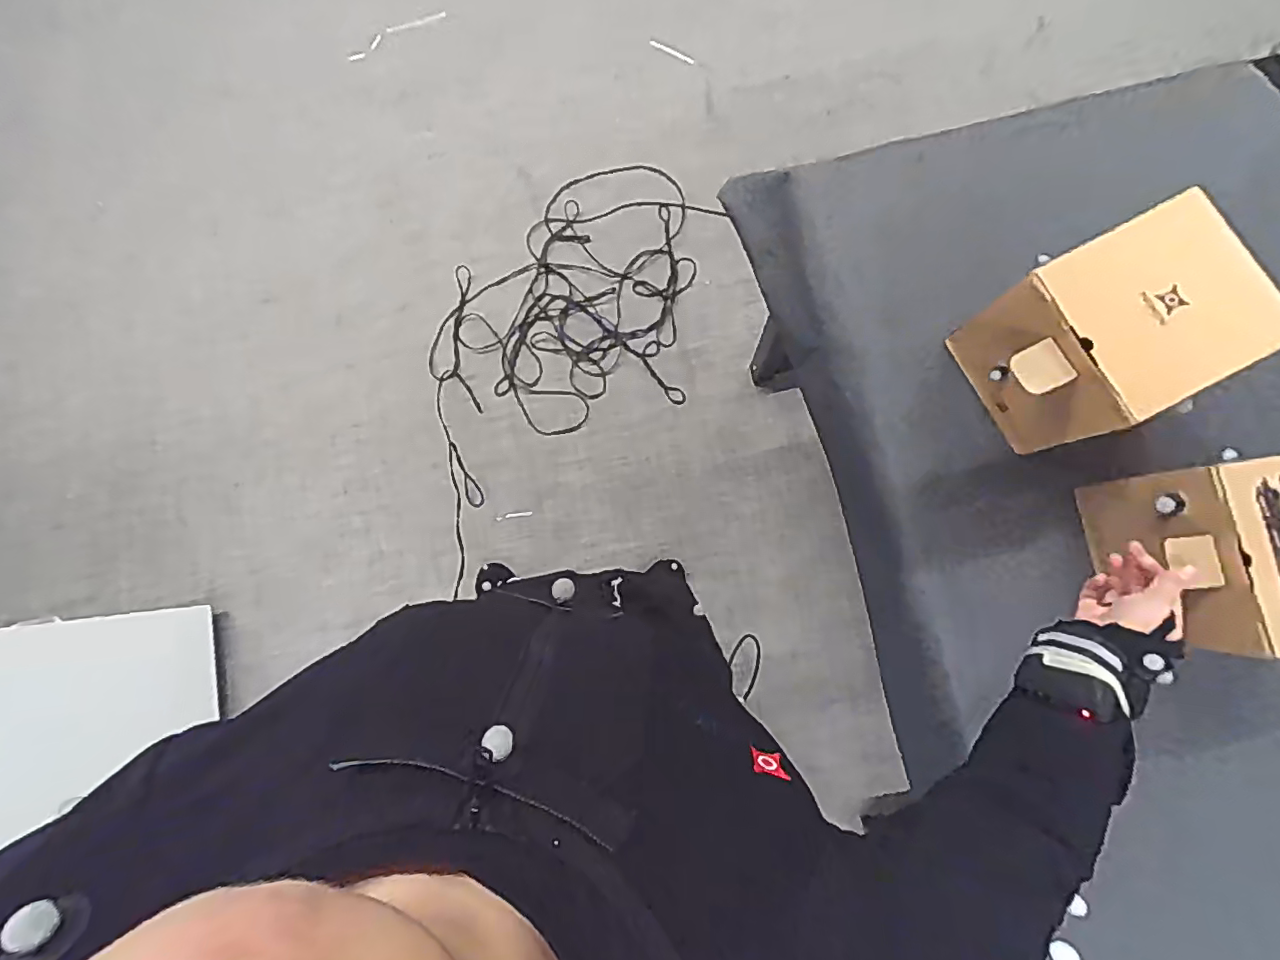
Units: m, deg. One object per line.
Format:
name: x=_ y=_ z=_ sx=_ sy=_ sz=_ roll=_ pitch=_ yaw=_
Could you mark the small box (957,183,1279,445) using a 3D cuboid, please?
small box: x=0.485 y=-0.156 z=0.565 sx=0.179 sy=0.176 sz=0.168 roll=-28 pitch=82 yaw=0
